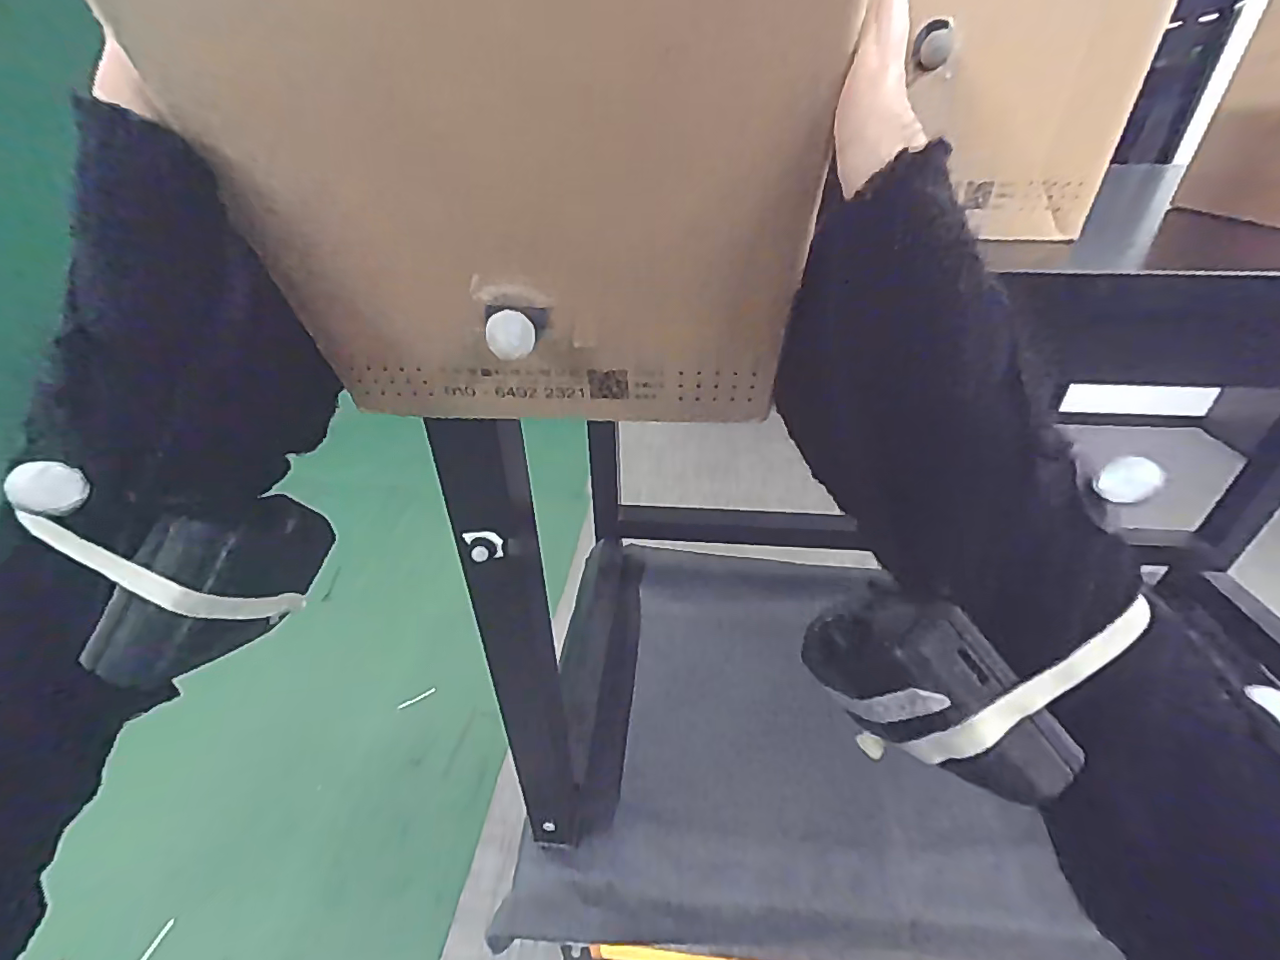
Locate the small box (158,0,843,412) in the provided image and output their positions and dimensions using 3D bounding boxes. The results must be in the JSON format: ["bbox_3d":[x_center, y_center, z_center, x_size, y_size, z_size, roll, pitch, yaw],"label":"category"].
[{"bbox_3d":[-0.032,-0.147,0.202,0.168,0.176,0.179,1,55,4],"label":"small box"}]

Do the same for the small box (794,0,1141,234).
[{"bbox_3d":[0.181,-0.262,0.350,0.168,0.176,0.179,5,33,8],"label":"small box"}]
